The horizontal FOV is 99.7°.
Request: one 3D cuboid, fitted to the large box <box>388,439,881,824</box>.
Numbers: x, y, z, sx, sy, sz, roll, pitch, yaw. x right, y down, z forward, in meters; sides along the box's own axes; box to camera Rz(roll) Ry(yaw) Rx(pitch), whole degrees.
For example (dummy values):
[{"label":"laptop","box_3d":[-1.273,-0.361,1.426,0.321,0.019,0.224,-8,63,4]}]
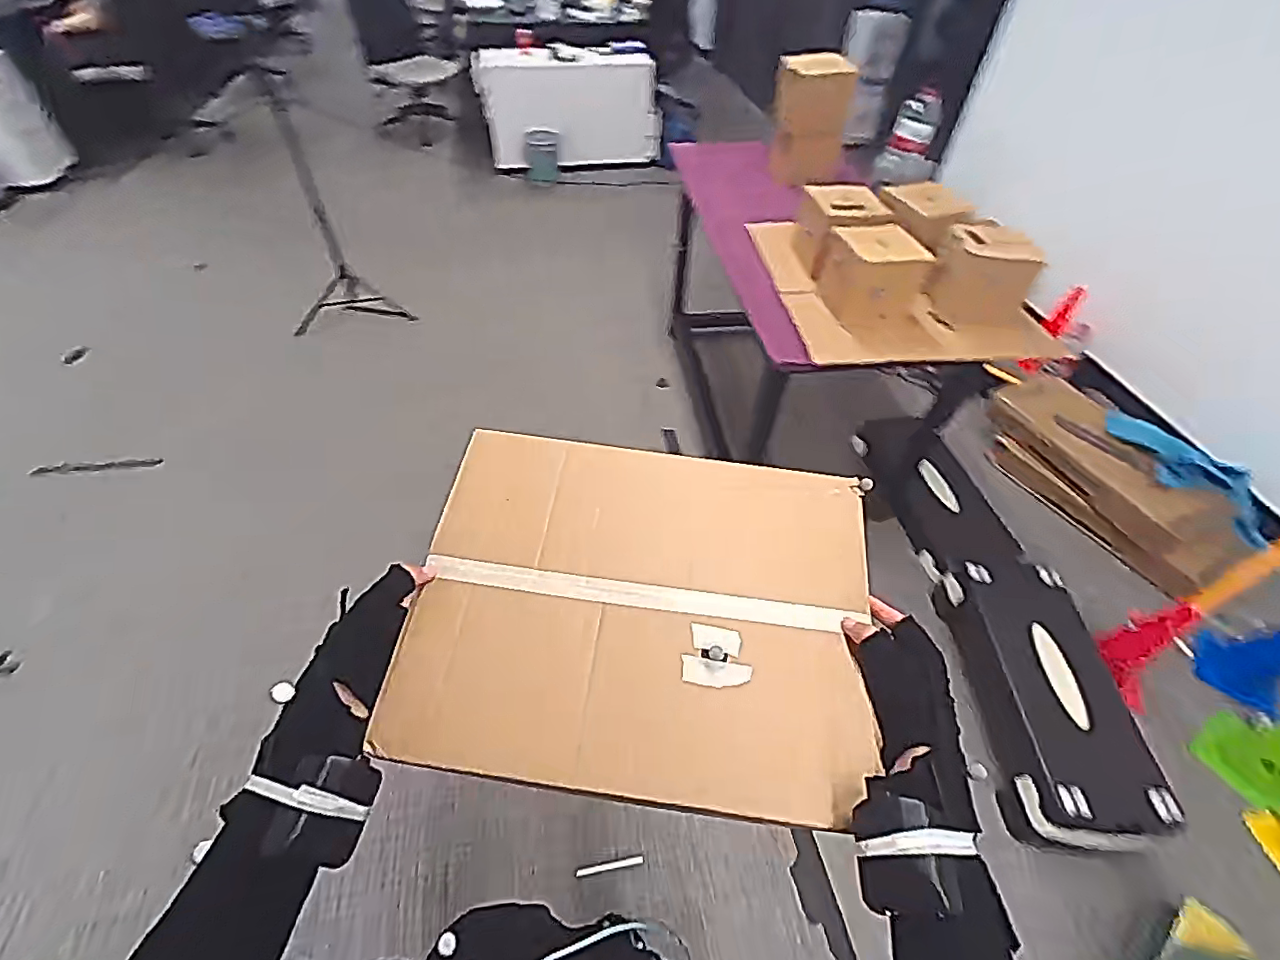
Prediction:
[{"label":"large box","box_3d":[0.004,0.187,0.628,0.408,0.320,0.320,9,60,2]}]
